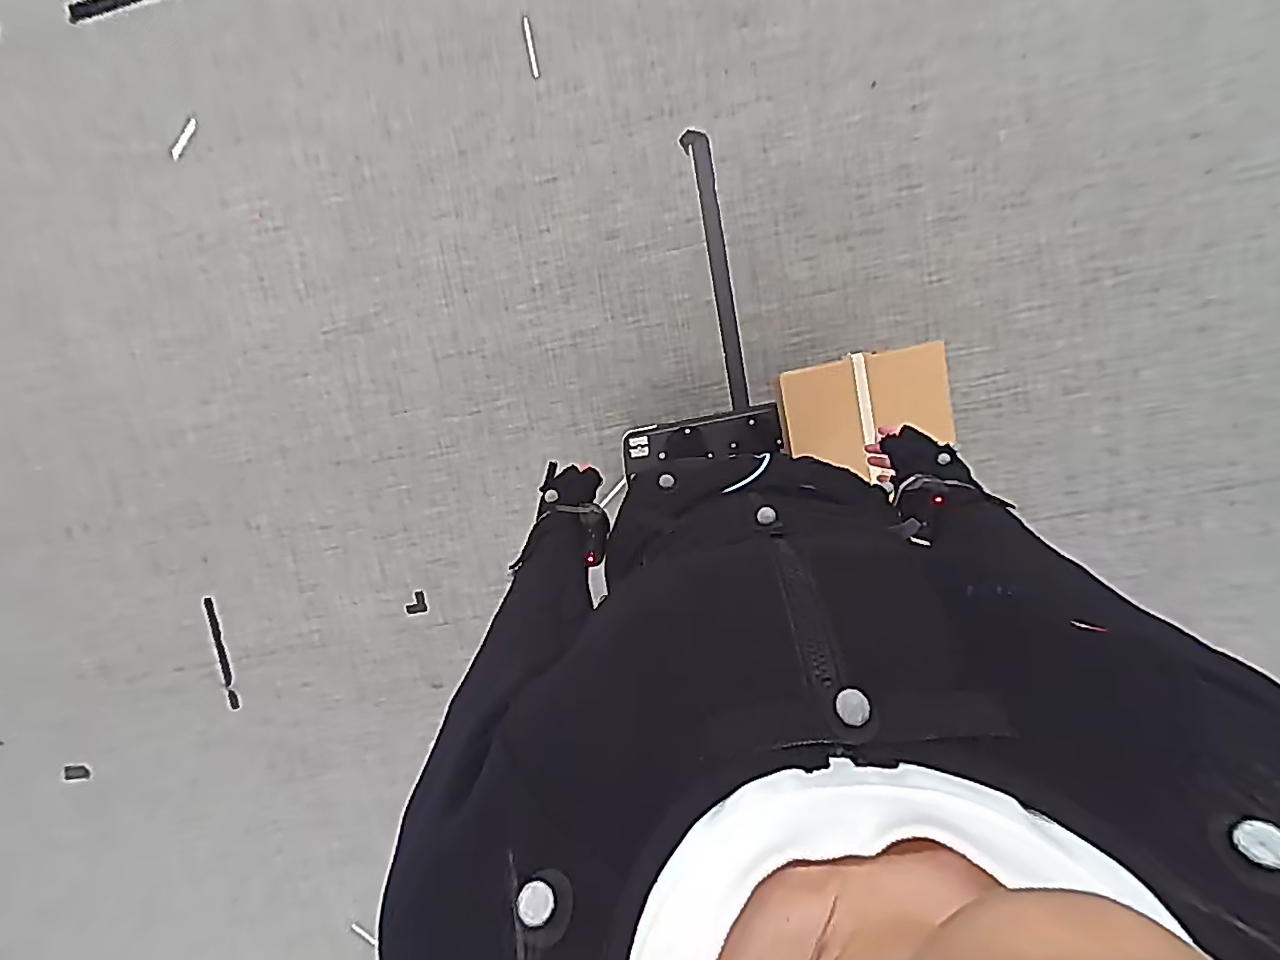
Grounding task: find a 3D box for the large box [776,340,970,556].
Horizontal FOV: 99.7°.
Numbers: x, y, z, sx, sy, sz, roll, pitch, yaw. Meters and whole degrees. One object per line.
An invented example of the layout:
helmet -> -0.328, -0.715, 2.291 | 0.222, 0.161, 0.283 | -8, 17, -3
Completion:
large box -> 0.509, -0.081, 1.246 | 0.320, 0.320, 0.408 | -10, 98, 14
